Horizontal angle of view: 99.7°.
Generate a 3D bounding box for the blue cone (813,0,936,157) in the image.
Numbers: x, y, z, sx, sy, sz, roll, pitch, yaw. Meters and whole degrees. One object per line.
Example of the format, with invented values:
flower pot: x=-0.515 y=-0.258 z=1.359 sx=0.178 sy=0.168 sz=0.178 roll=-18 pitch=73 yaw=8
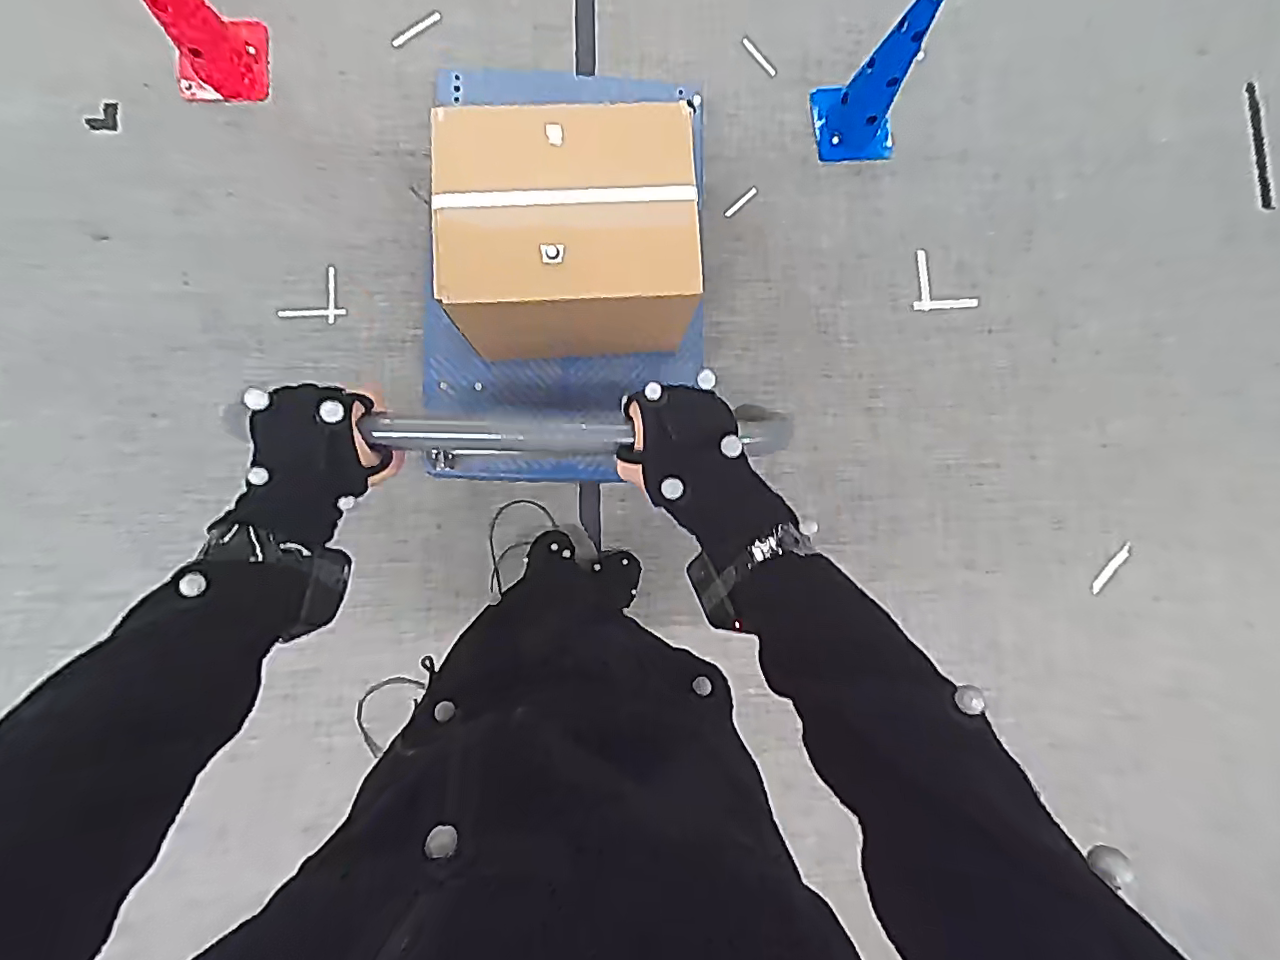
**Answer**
blue cone: x=0.559 y=-0.936 z=1.230 sx=0.193 sy=0.380 sz=0.192 roll=-5 pitch=86 yaw=-5
